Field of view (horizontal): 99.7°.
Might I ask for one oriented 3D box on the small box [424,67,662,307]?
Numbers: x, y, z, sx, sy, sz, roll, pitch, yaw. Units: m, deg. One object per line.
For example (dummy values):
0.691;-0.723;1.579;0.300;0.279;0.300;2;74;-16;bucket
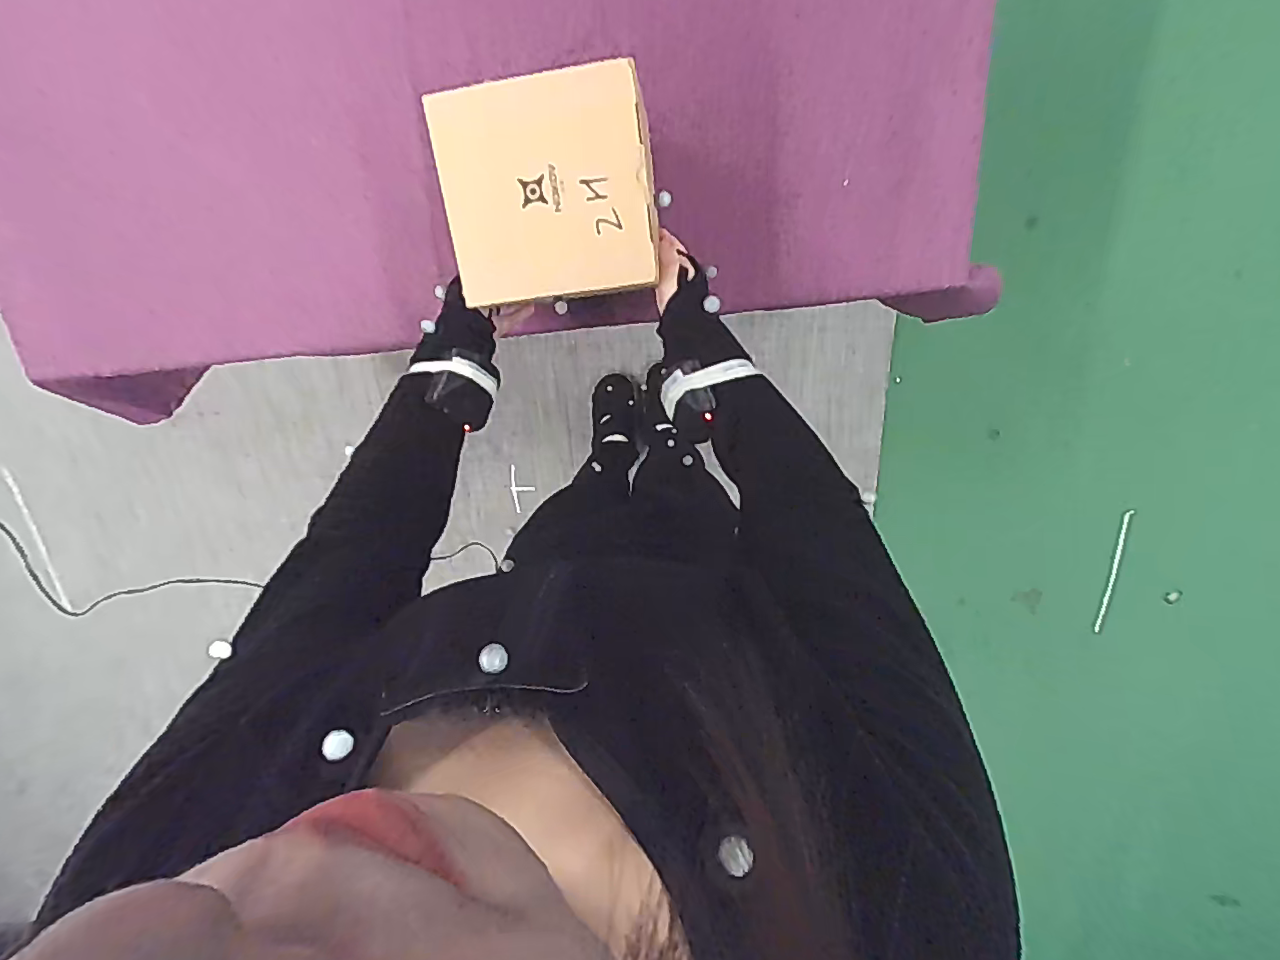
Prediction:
-0.075;-0.262;0.527;0.179;0.176;0.168;-5;109;6;small box
